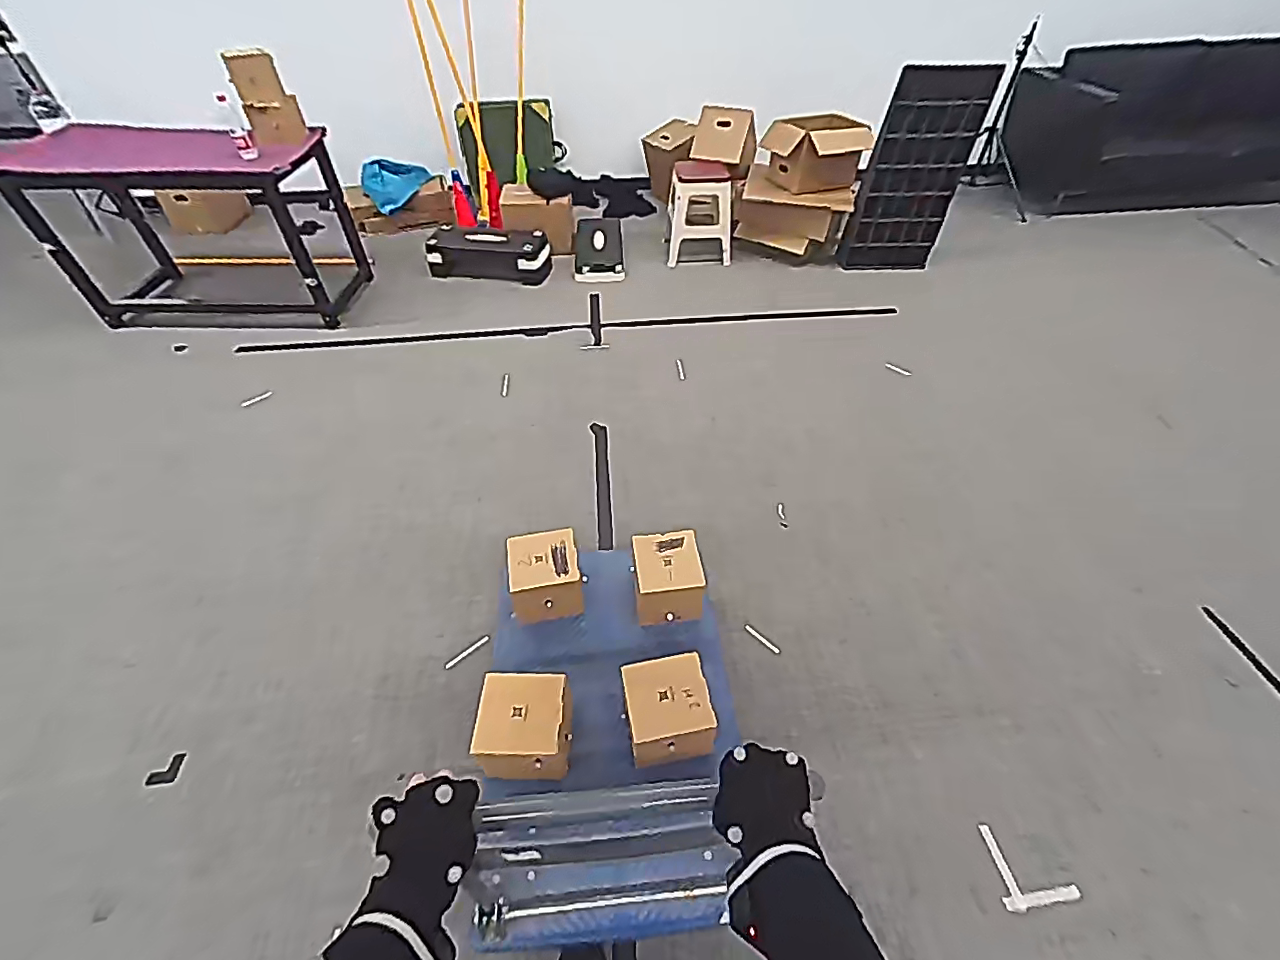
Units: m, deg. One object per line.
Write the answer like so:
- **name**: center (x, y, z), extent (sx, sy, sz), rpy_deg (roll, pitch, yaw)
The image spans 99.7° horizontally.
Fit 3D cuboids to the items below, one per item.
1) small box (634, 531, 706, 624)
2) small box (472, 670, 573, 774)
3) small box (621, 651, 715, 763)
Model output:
- **small box**: center (0.073, 0.258, 1.435), extent (0.168, 0.176, 0.179), rpy_deg (-5, 48, -5)
- **small box**: center (-0.247, 0.532, 1.184), extent (0.179, 0.176, 0.168), rpy_deg (1, 47, 0)
- **small box**: center (0.059, 0.507, 1.202), extent (0.179, 0.176, 0.168), rpy_deg (-8, 47, -6)
